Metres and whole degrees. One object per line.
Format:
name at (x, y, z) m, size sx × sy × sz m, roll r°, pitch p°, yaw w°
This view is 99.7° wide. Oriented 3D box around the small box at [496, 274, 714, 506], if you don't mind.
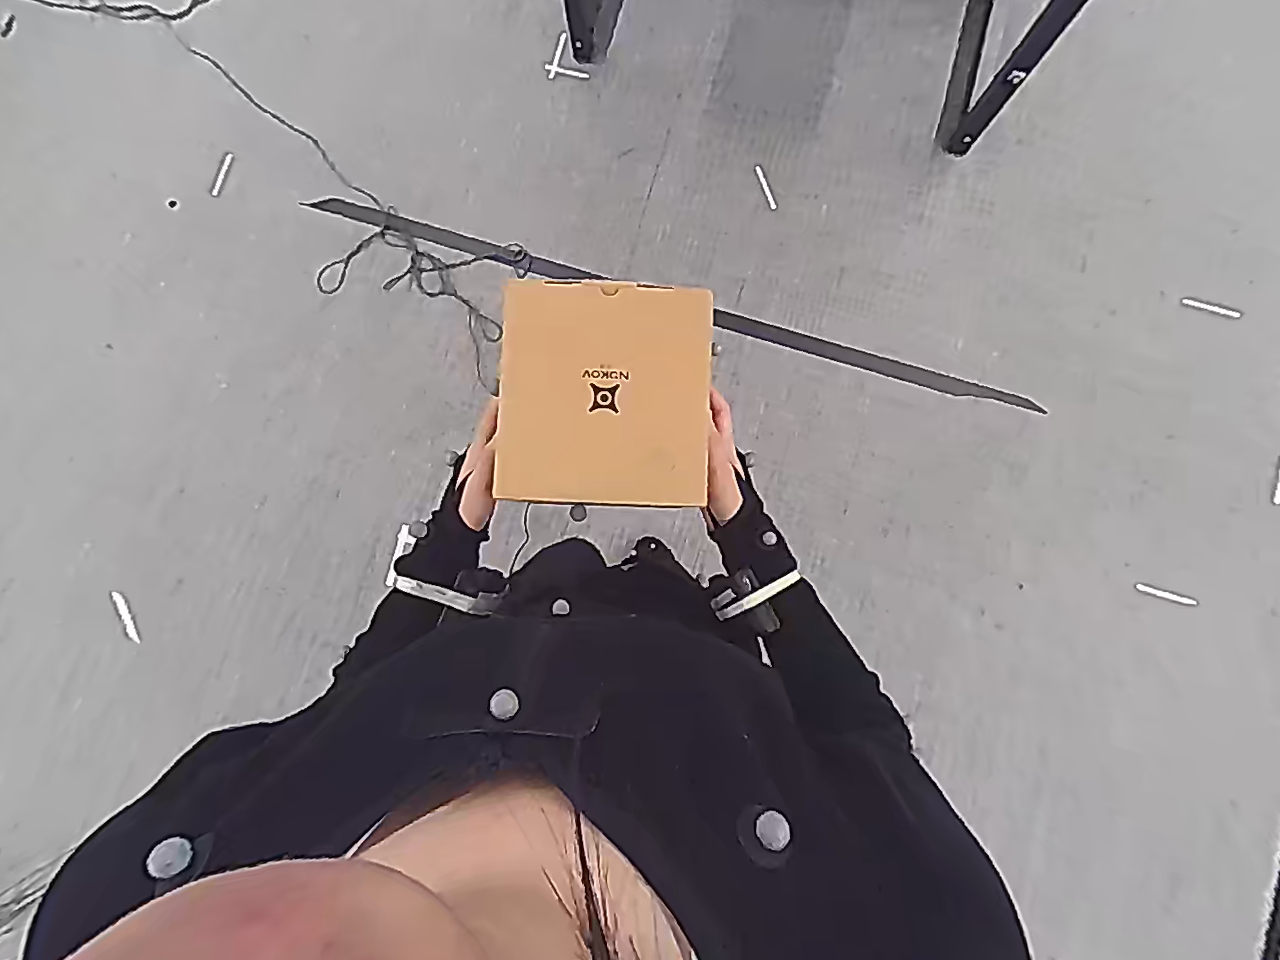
small box at (-0.028, -0.066, 0.496) m, size 0.168 × 0.176 × 0.179 m, roll 2°, pitch 85°, yaw -2°
